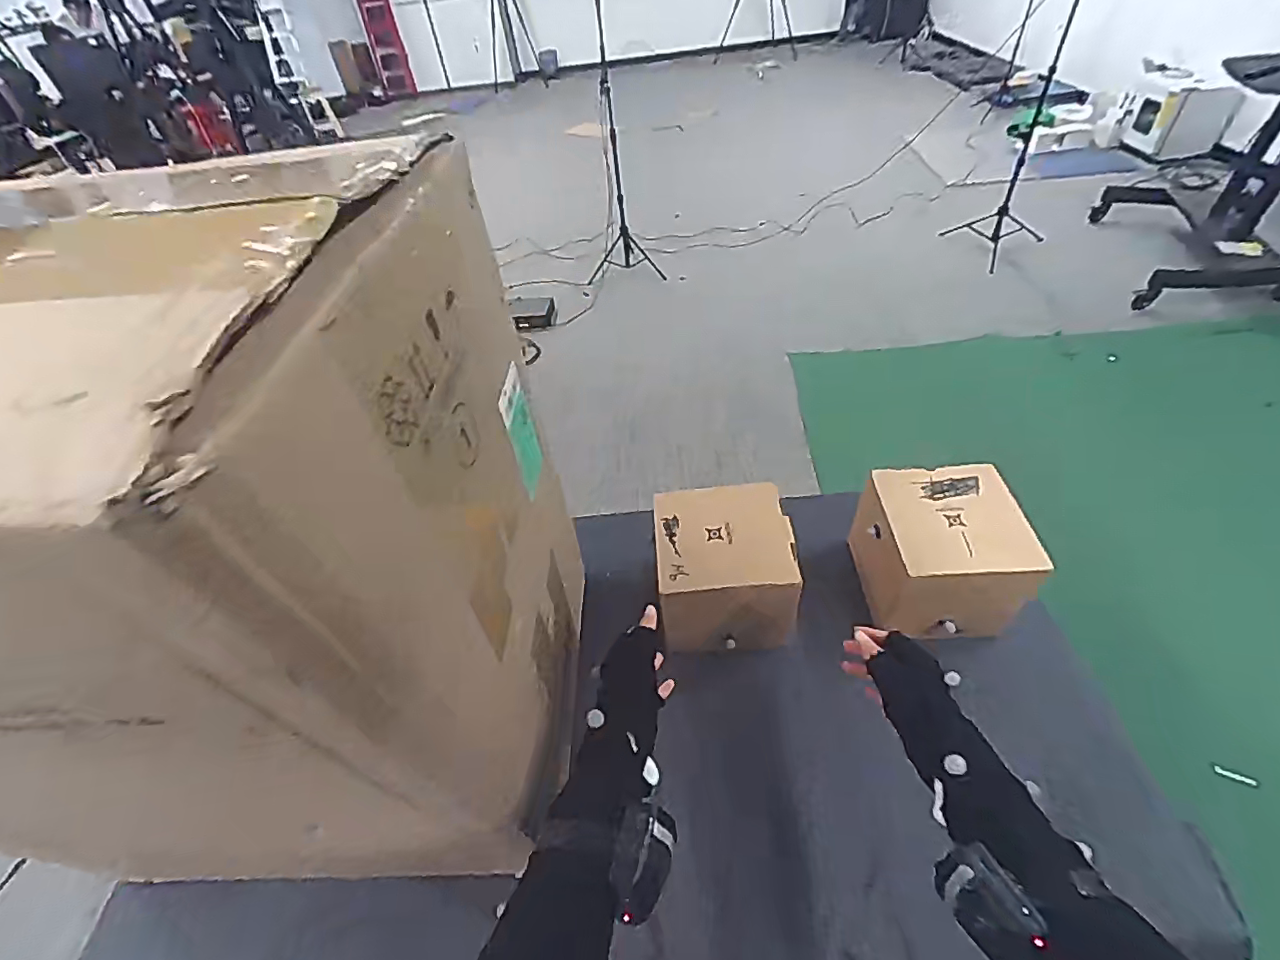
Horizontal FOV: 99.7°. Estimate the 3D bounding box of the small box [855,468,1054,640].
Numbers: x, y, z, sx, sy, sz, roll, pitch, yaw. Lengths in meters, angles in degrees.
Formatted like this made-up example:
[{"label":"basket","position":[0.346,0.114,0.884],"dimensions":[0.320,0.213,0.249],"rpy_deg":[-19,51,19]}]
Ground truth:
[{"label":"small box","position":[0.413,0.104,0.753],"dimensions":[0.168,0.176,0.179],"rpy_deg":[-3,47,5]}]
